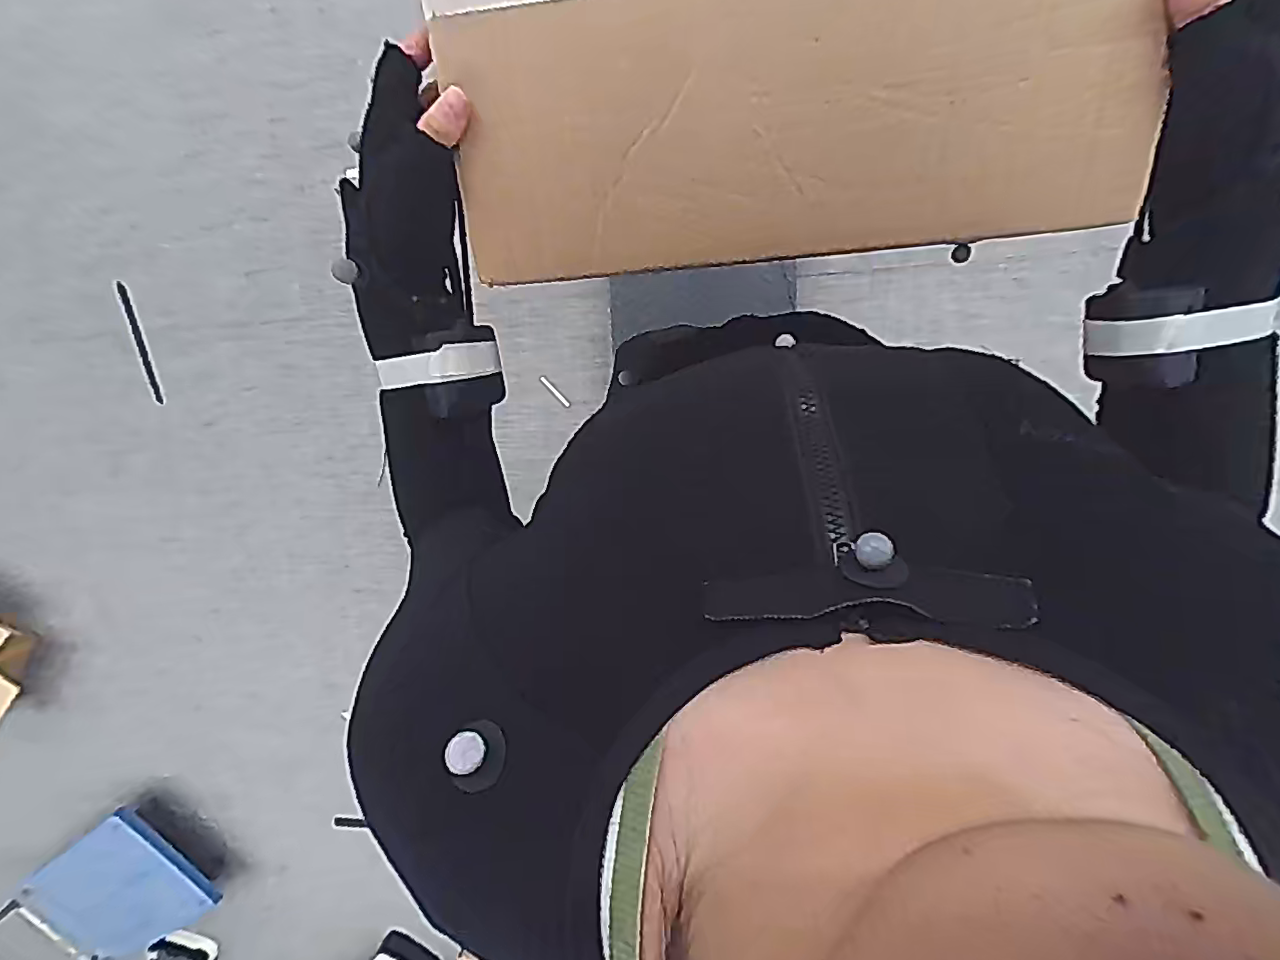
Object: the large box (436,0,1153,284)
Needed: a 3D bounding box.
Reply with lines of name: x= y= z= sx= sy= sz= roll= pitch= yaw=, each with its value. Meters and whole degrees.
large box: x=0.090 y=-0.350 z=0.429 sx=0.408 sy=0.320 sz=0.320 roll=-3 pitch=113 yaw=6
